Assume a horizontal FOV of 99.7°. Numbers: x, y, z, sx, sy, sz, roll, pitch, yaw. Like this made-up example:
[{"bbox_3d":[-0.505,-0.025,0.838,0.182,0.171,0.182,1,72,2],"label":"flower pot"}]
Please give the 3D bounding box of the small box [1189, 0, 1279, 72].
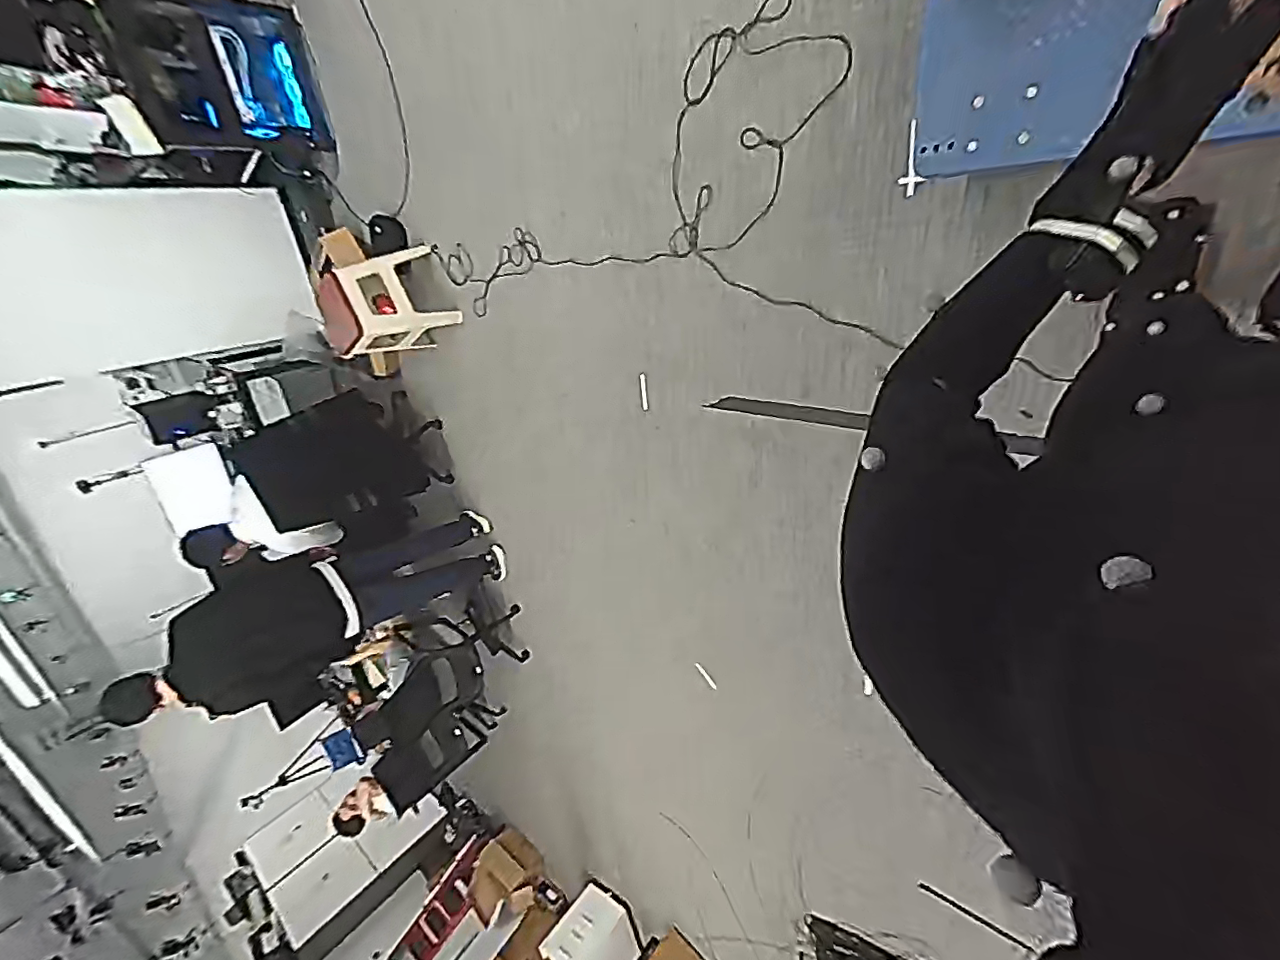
[{"bbox_3d":[0.533,-0.390,0.368,0.168,0.176,0.179,31,144,12],"label":"small box"}]
